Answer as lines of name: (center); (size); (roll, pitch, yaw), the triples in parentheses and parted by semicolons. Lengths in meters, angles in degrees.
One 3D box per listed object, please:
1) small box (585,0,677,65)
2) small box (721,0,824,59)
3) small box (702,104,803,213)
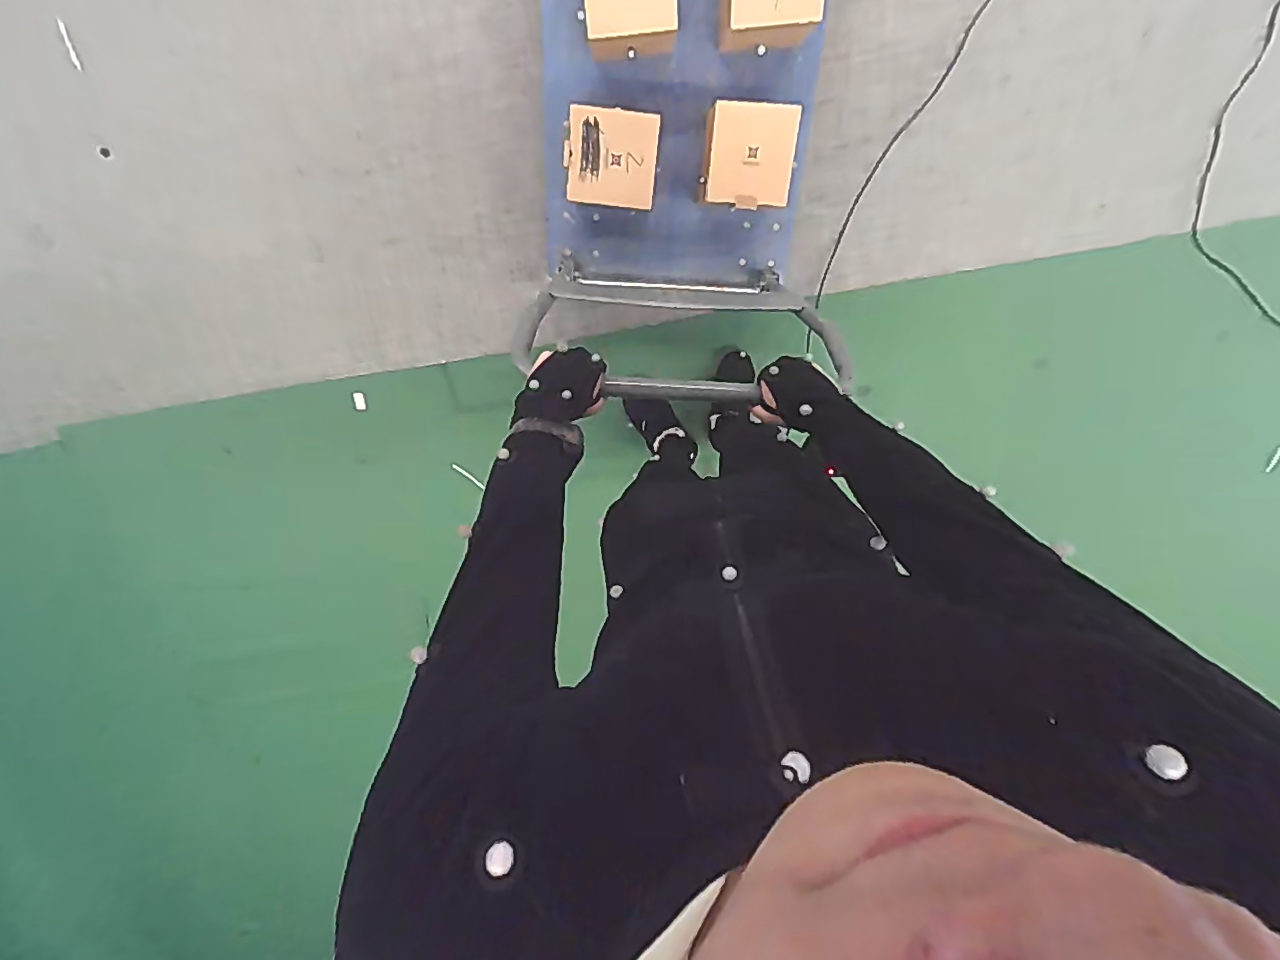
small box: (-0.017, -0.909, 1.018); (0.168, 0.176, 0.179); (-5, 115, 2)
small box: (0.242, -0.922, 1.010); (0.168, 0.176, 0.179); (-3, 116, 3)
small box: (0.226, -0.665, 1.134); (0.168, 0.176, 0.179); (3, 116, -1)
